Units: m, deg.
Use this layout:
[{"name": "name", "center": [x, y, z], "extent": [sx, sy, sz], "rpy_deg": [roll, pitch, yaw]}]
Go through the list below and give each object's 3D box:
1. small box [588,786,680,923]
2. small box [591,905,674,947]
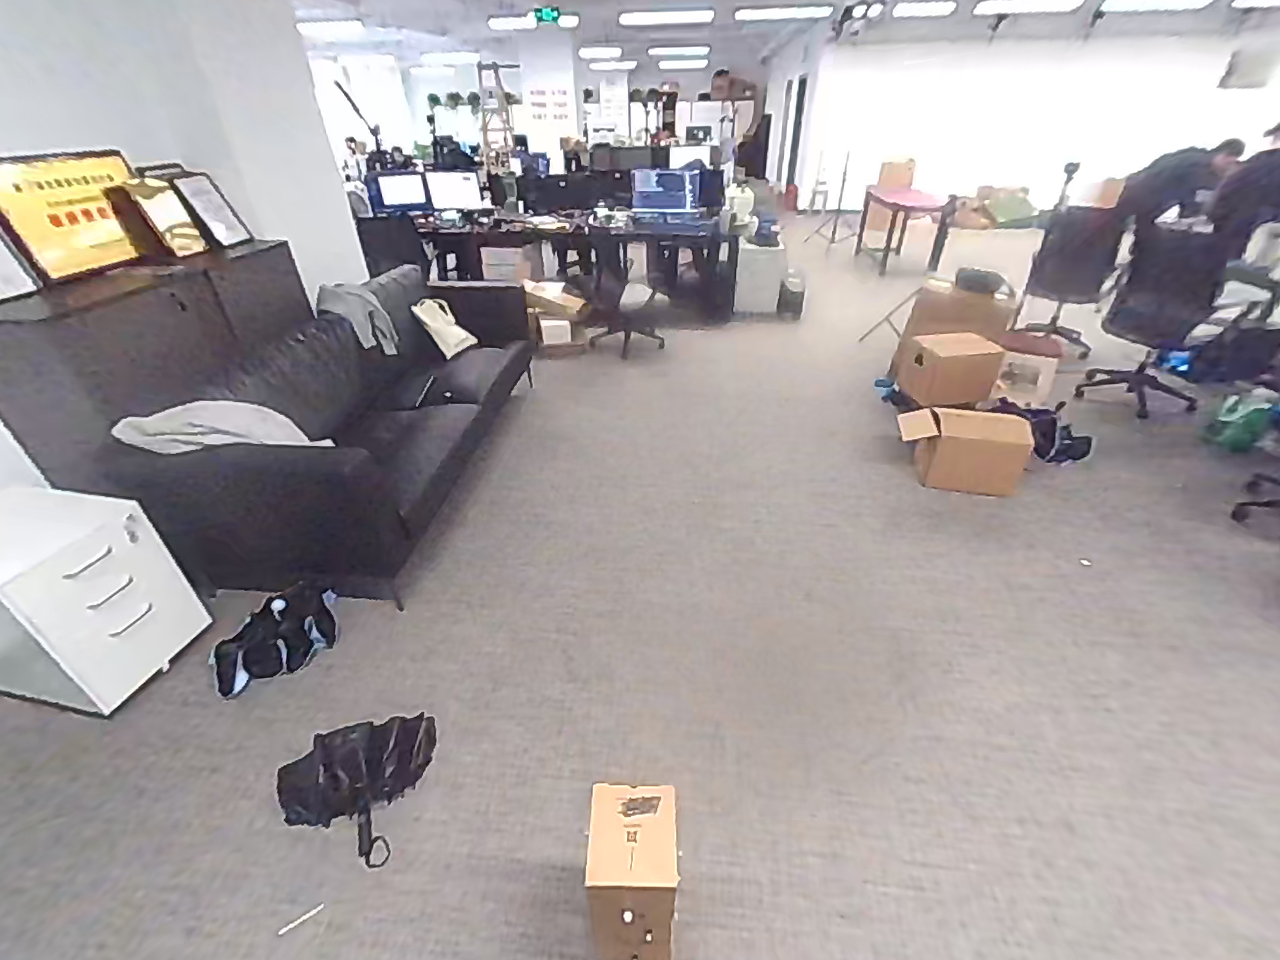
[{"name": "small box", "center": [-0.011, 0.735, 1.065], "extent": [0.168, 0.176, 0.179], "rpy_deg": [0, 36, 1]}, {"name": "small box", "center": [-0.008, 0.866, 1.164], "extent": [0.168, 0.176, 0.179], "rpy_deg": [3, 33, 3]}]
